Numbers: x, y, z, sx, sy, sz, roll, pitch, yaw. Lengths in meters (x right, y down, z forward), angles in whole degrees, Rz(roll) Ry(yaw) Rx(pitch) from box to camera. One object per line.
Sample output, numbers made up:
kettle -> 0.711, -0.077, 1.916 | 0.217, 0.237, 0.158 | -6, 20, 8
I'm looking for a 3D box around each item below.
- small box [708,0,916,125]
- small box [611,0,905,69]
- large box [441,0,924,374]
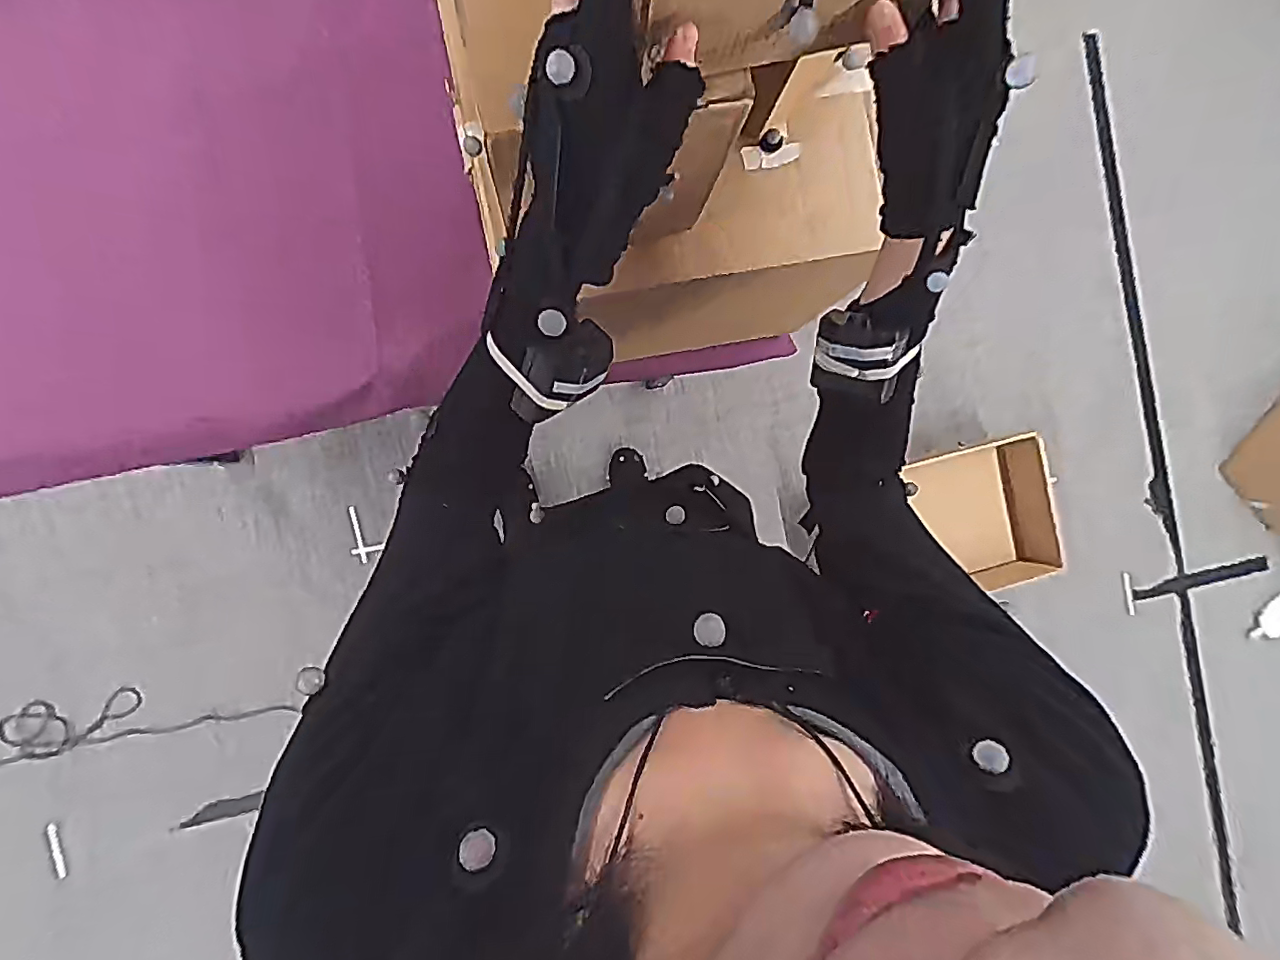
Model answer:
small box -> 0.123, -0.421, 0.397 | 0.168, 0.176, 0.179 | -40, 93, -4
small box -> 0.067, -0.324, 0.228 | 0.179, 0.176, 0.168 | -15, 92, -5
large box -> 0.030, -0.338, 0.635 | 0.408, 0.320, 0.320 | -12, 92, -6
